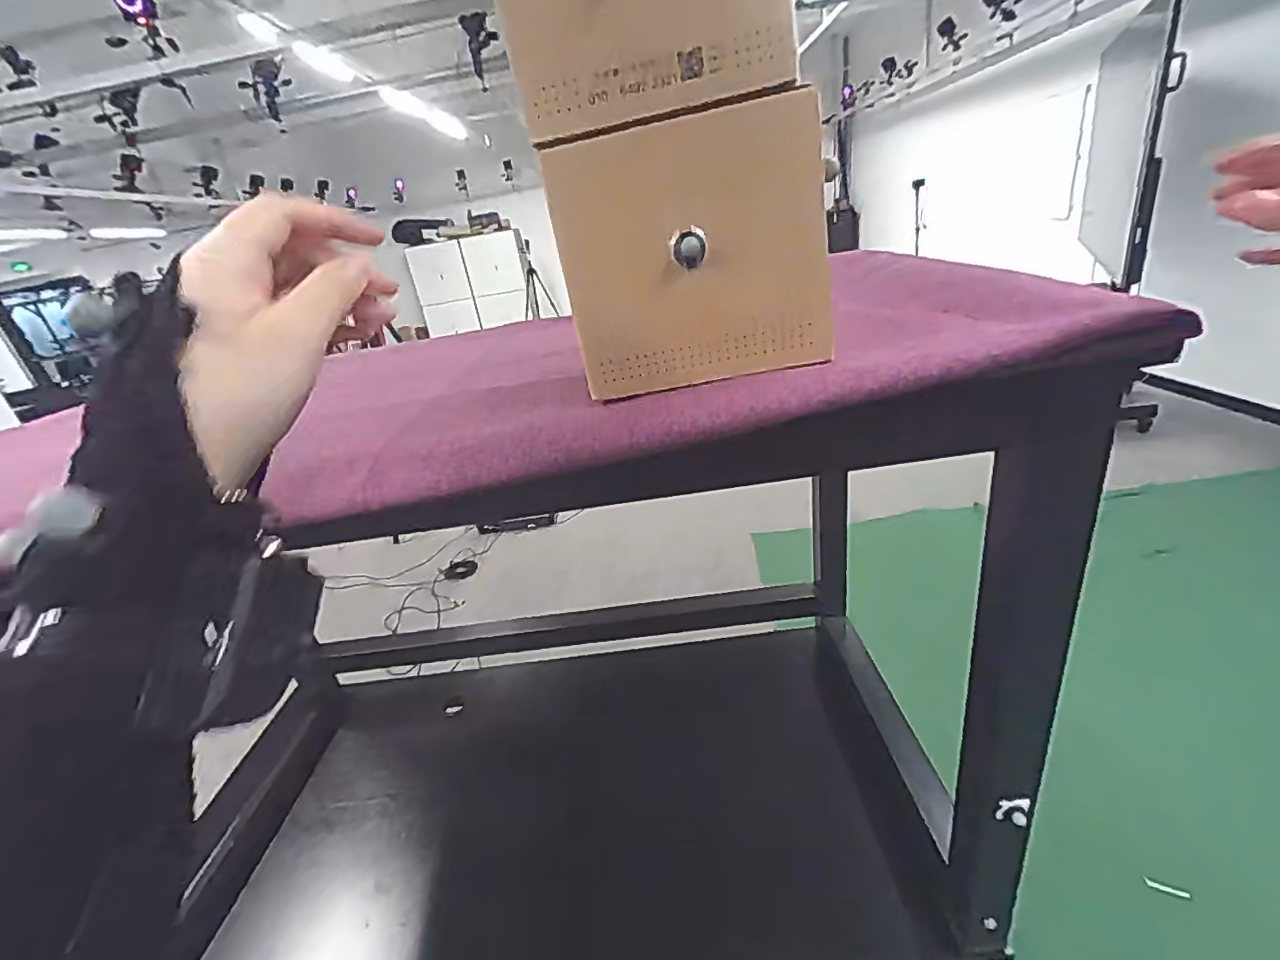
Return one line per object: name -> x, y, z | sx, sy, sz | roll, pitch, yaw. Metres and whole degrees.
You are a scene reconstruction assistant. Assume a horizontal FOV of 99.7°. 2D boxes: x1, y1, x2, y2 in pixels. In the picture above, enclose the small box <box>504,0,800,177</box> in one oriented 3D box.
small box -> 0.005, -0.322, 0.366 | 0.168, 0.176, 0.179 | -9, 23, 6
